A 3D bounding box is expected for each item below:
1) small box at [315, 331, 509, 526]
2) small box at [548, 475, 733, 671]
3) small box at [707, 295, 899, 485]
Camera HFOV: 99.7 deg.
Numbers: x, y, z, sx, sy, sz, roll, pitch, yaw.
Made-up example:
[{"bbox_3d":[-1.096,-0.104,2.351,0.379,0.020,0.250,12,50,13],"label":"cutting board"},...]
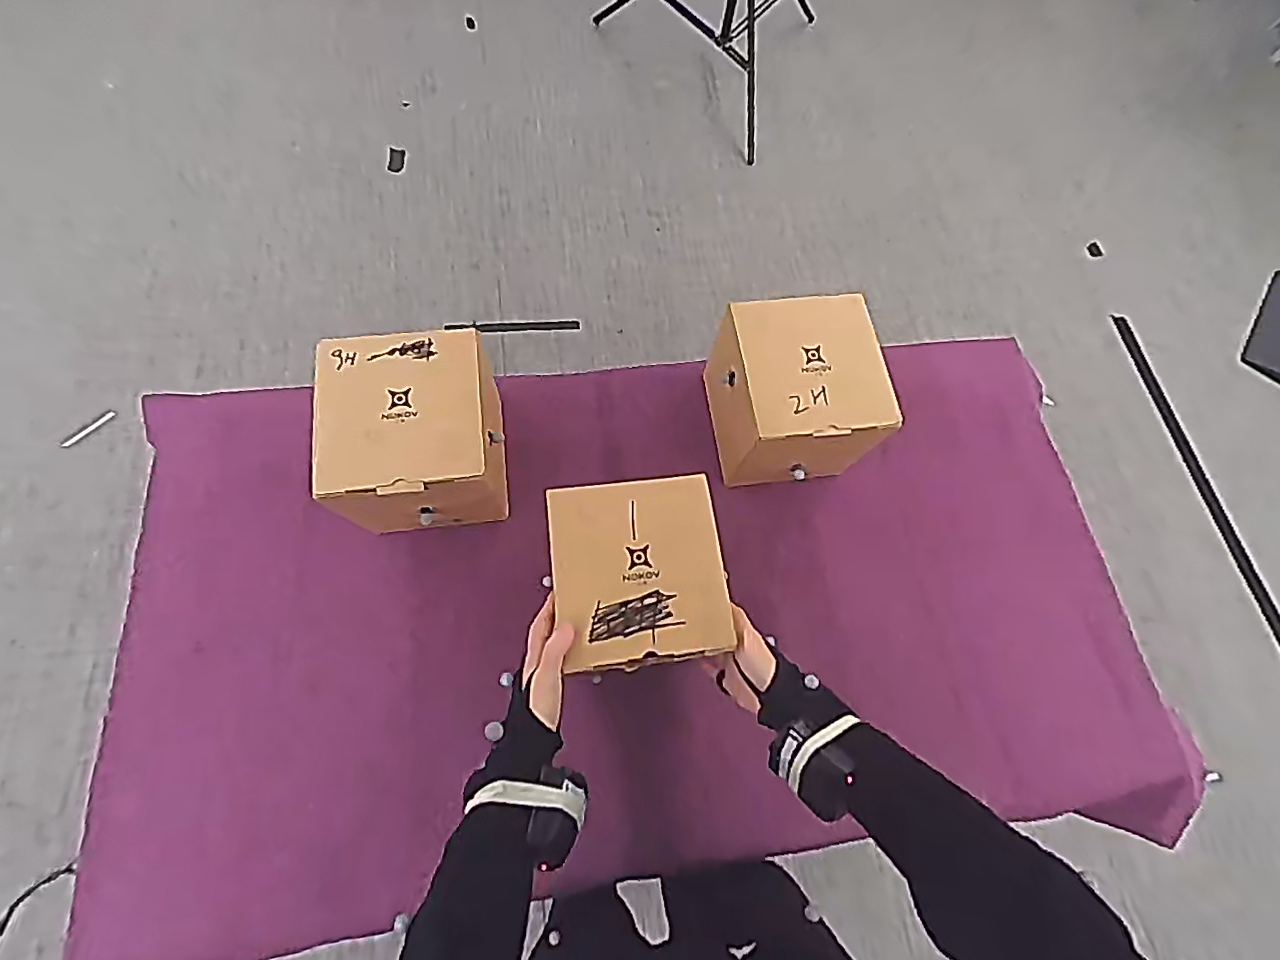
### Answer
[{"bbox_3d":[-0.252,-0.049,0.632,0.168,0.176,0.179,-6,73,-7],"label":"small box"},{"bbox_3d":[-0.007,0.109,0.596,0.168,0.176,0.179,-5,70,-6],"label":"small box"},{"bbox_3d":[0.189,-0.107,0.687,0.168,0.176,0.179,-6,72,-6],"label":"small box"}]
